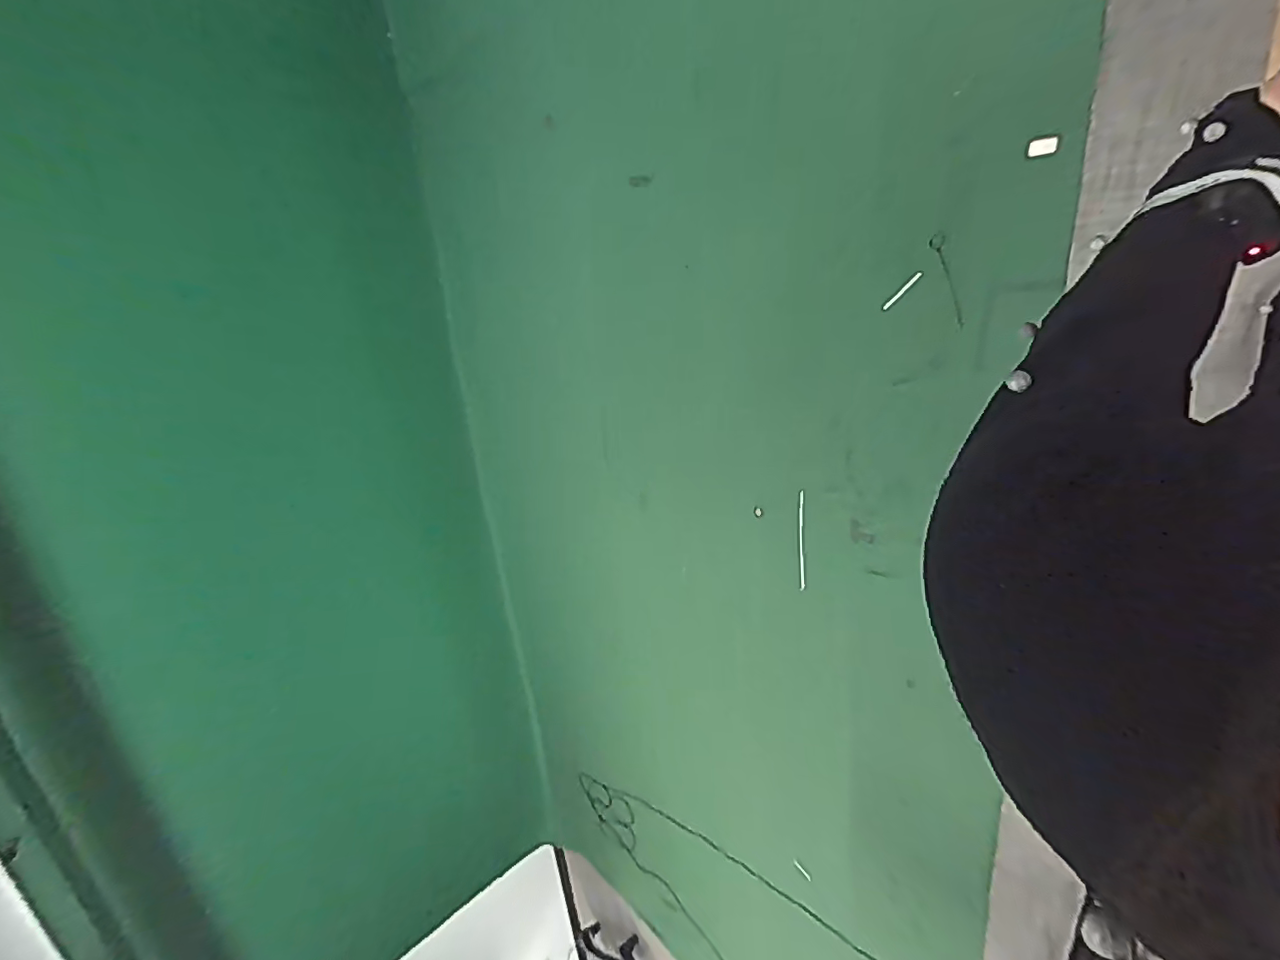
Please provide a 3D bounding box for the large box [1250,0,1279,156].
[{"bbox_3d":[1.023,-0.683,0.667,0.320,0.320,0.408,11,113,47],"label":"large box"}]
